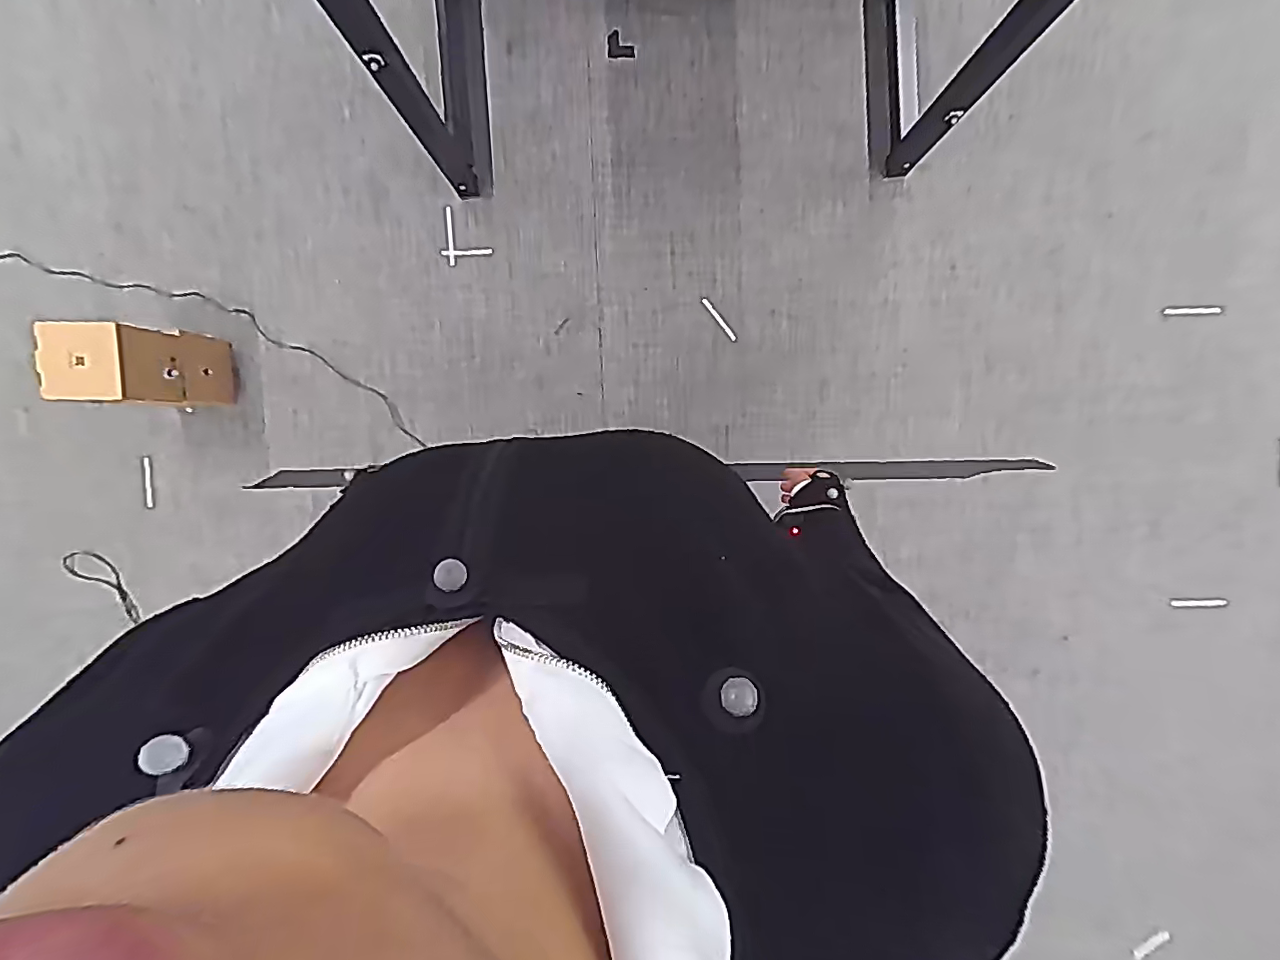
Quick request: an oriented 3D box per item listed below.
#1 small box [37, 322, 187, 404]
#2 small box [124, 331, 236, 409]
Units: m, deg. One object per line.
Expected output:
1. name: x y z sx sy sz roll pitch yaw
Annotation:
1. small box: -1.188 -0.260 1.228 0.179 0.176 0.168 -1 96 -1
2. small box: -1.185 -0.277 1.390 0.168 0.176 0.179 -3 95 0
